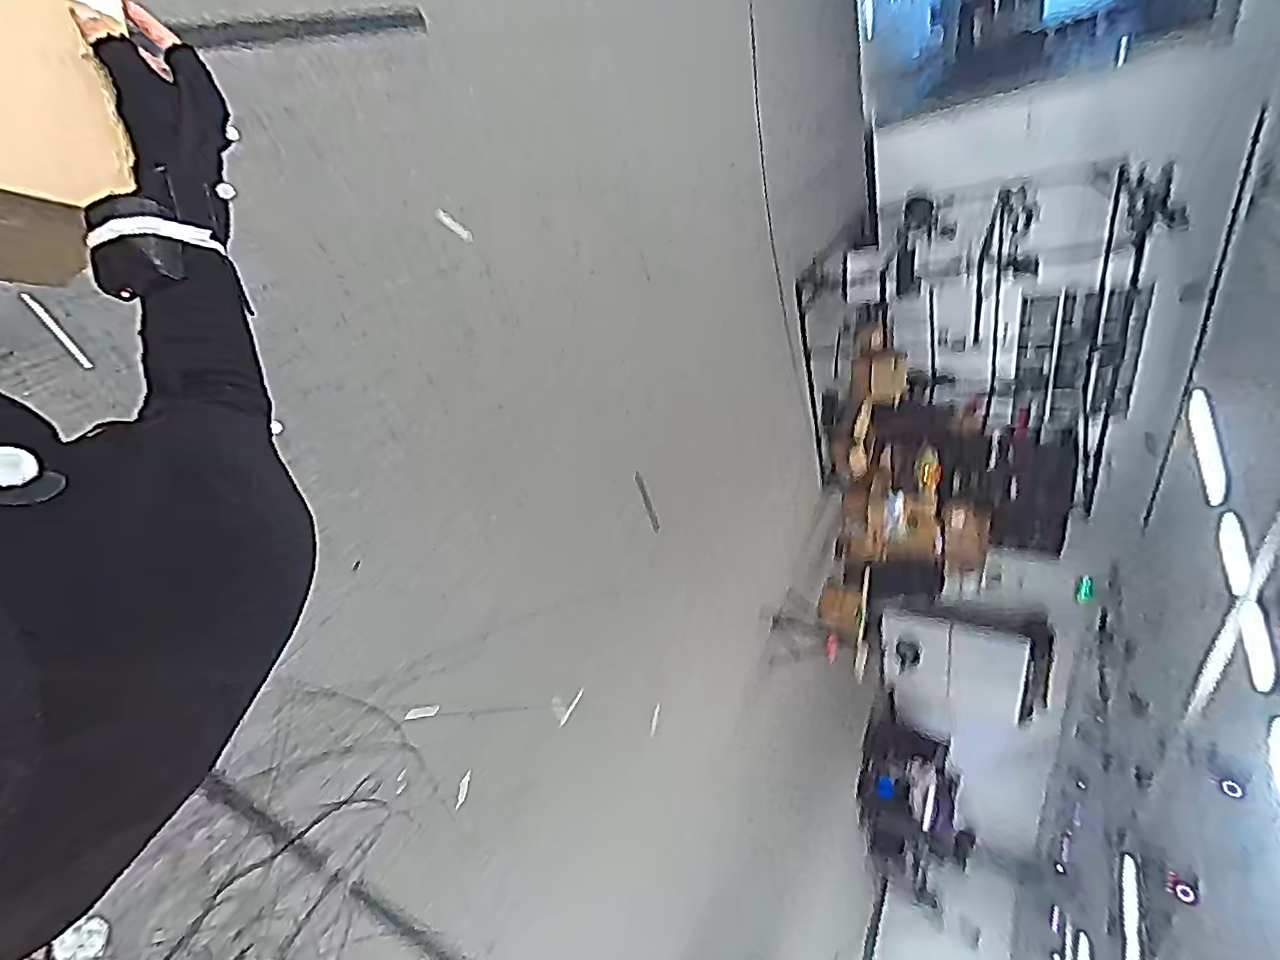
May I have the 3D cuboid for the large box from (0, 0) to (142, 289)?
[{"bbox_3d":[-0.651,-0.347,0.357,0.408,0.320,0.320,-7,98,-55],"label":"large box"}]
